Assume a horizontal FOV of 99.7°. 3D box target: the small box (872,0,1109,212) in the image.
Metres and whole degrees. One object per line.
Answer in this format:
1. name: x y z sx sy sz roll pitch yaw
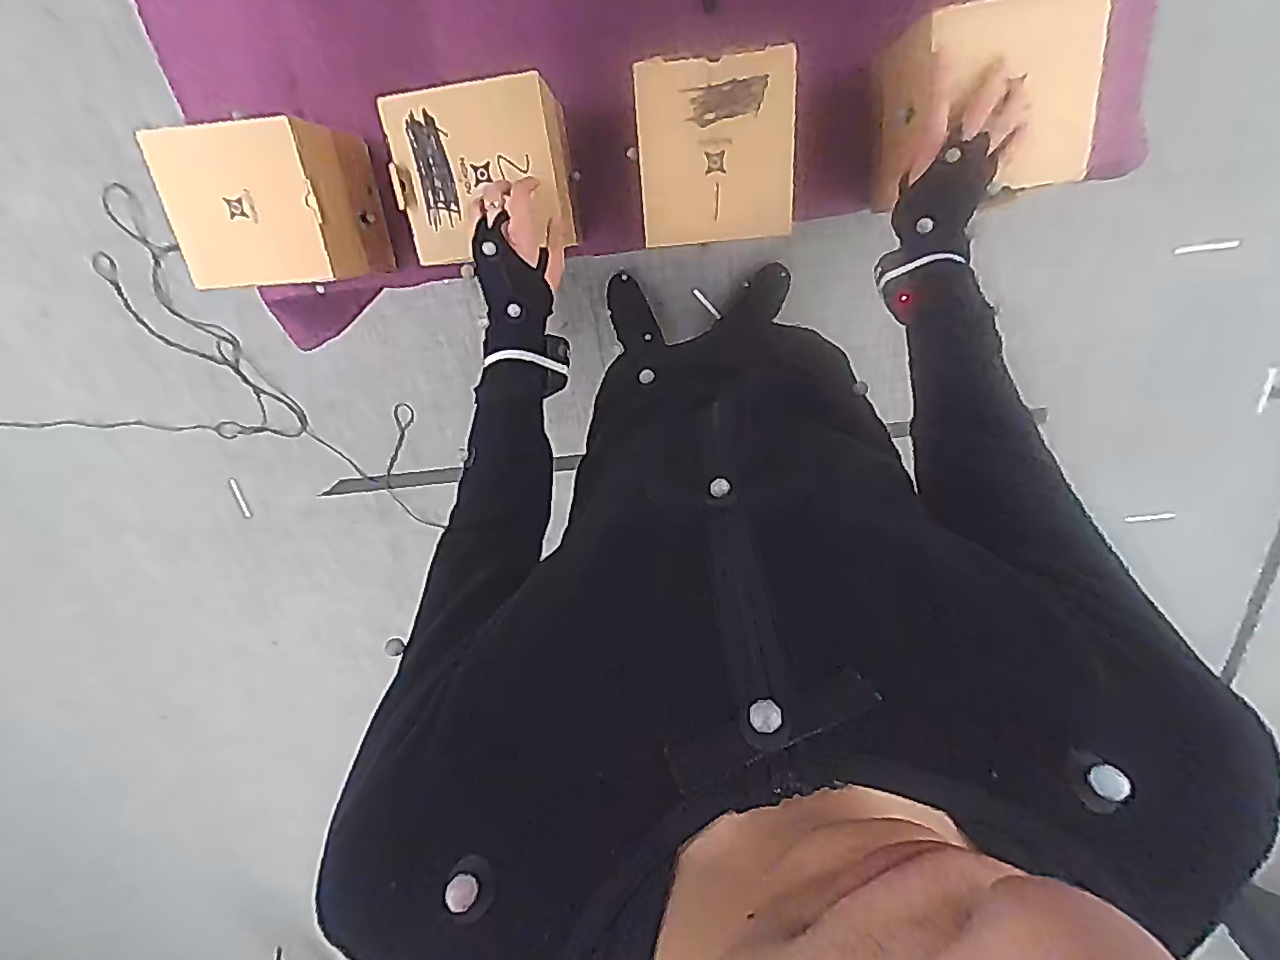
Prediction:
1. small box: 0.376 -0.418 0.617 0.168 0.176 0.179 -8 113 6
